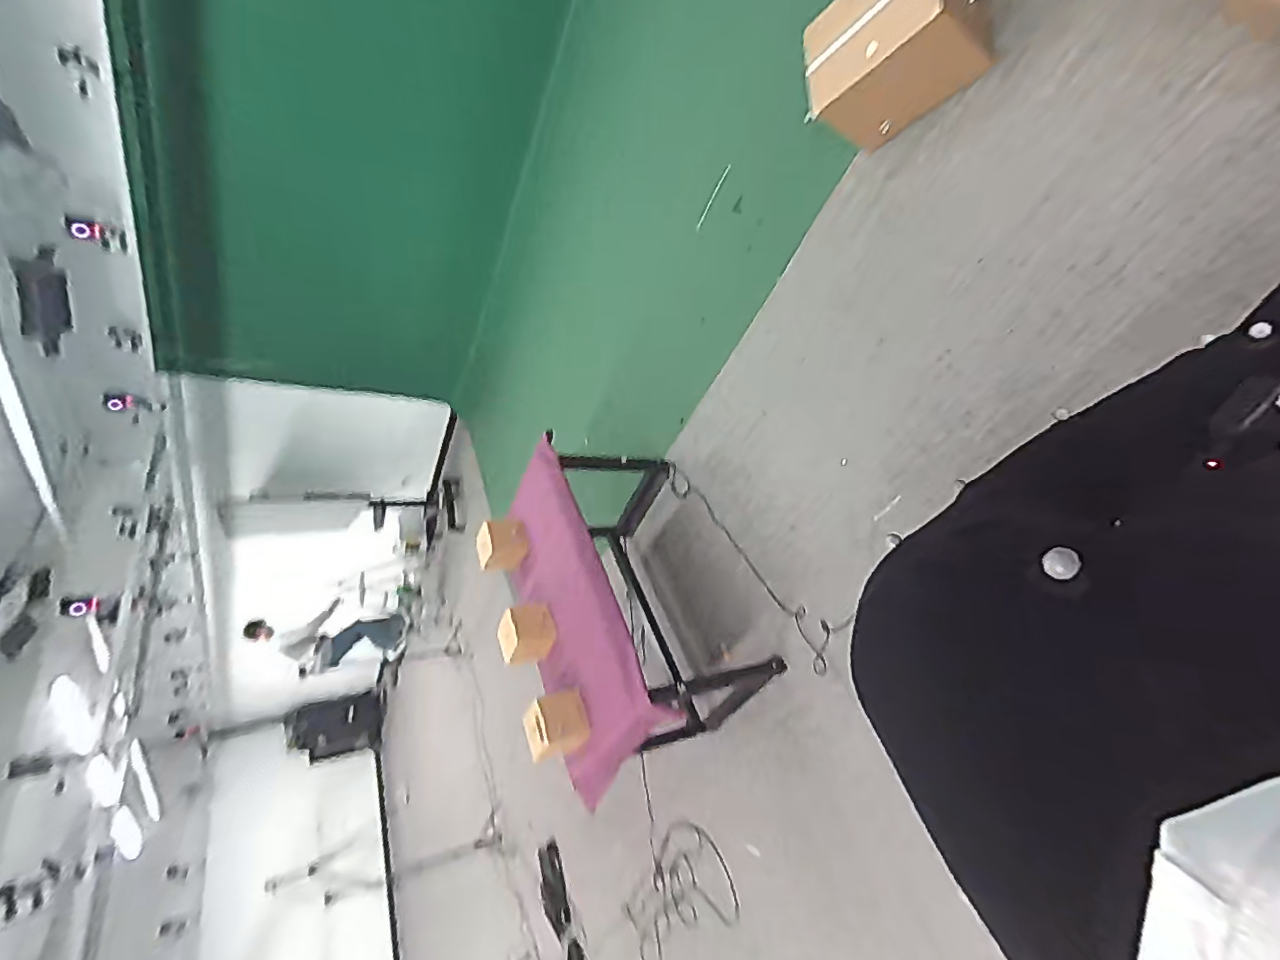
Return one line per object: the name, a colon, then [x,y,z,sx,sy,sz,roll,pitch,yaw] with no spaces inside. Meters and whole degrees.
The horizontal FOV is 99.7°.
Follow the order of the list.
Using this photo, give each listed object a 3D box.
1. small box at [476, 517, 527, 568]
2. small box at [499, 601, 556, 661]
small box: [-0.635,0.285,2.473,0.179,0.176,0.168,-52,50,40]
small box: [-0.462,0.618,2.219,0.168,0.176,0.179,59,133,38]
